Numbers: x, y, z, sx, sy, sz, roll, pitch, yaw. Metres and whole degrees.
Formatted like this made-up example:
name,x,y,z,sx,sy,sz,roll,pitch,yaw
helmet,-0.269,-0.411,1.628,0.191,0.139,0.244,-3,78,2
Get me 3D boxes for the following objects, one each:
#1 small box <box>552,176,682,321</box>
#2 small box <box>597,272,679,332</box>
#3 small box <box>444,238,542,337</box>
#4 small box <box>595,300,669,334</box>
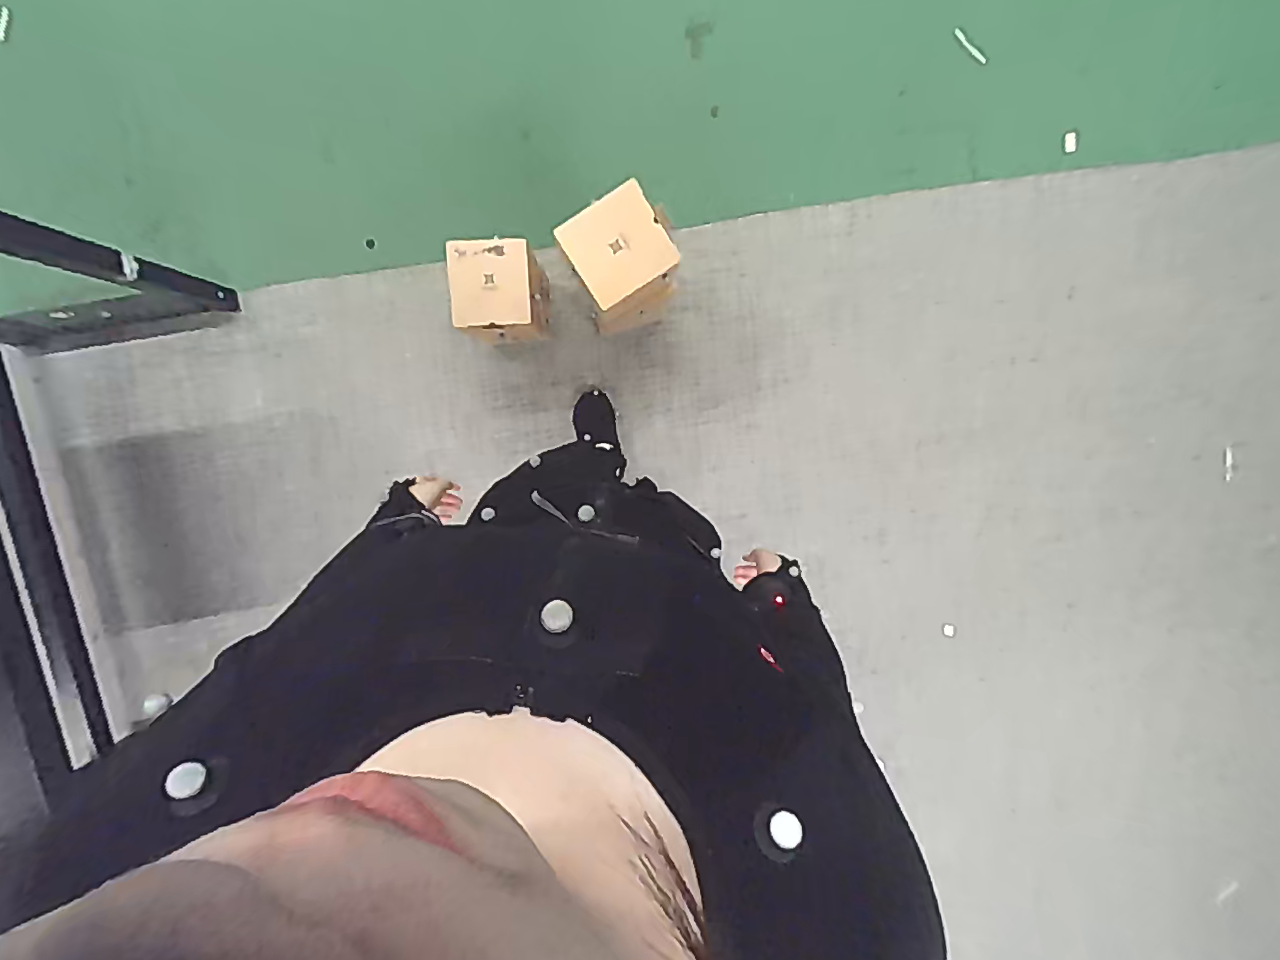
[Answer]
name,x,y,z,sx,sy,sz,roll,pitch,yaw
small box,-0.043,-0.424,1.027,0.179,0.176,0.168,-34,98,1
small box,-0.035,-0.442,1.189,0.179,0.176,0.168,-29,99,0
small box,-0.311,-0.409,1.178,0.168,0.176,0.179,-3,97,-2
small box,-0.037,-0.474,1.349,0.179,0.176,0.168,-16,98,-1
